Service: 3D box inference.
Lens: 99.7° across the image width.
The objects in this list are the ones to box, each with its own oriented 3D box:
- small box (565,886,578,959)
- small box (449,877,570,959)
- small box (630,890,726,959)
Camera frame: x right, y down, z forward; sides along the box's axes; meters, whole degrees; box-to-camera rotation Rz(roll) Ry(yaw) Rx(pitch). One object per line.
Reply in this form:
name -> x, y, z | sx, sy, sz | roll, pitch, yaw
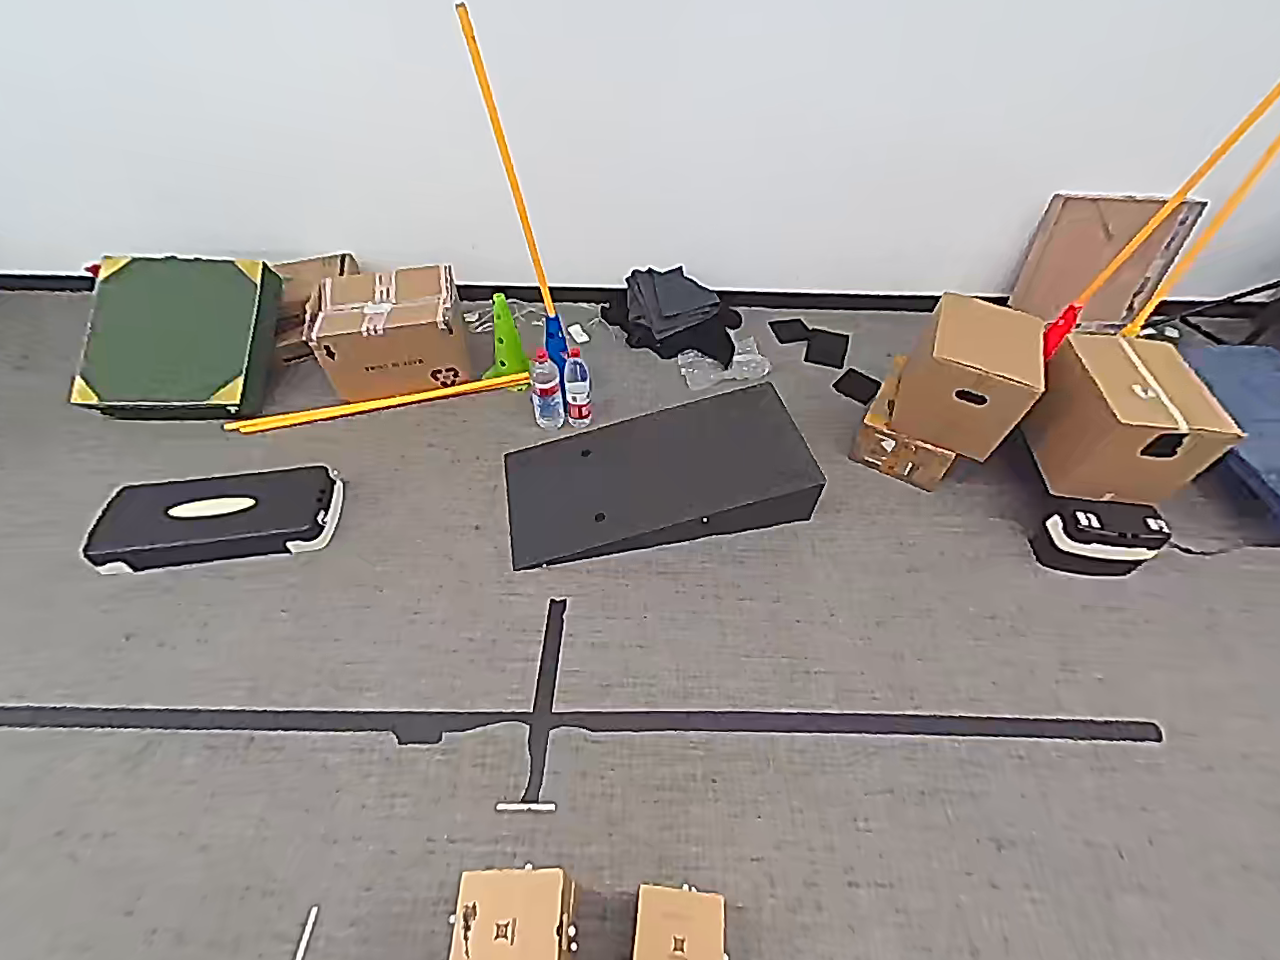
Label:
small box -> -0.214, 0.888, 1.039 | 0.168, 0.176, 0.179 | 4, 49, 1
small box -> -0.214, 0.779, 0.915 | 0.179, 0.176, 0.168 | 1, 49, -2
small box -> 0.068, 0.909, 1.033 | 0.168, 0.176, 0.179 | 7, 49, 3
